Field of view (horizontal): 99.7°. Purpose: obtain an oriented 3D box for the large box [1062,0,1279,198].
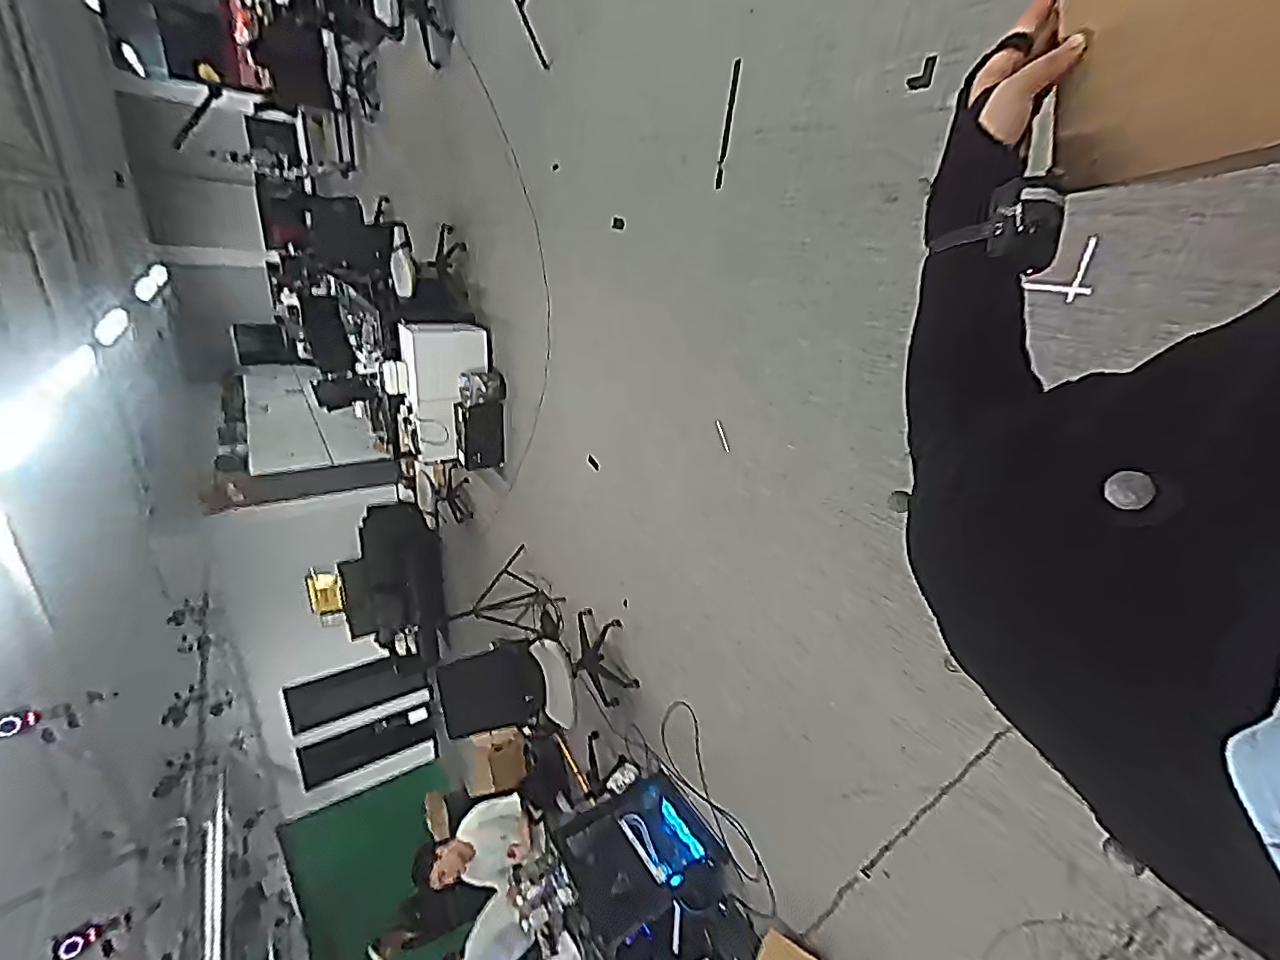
[{"bbox_3d":[0.559,-0.405,0.326,0.408,0.320,0.320,13,118,56],"label":"large box"}]
